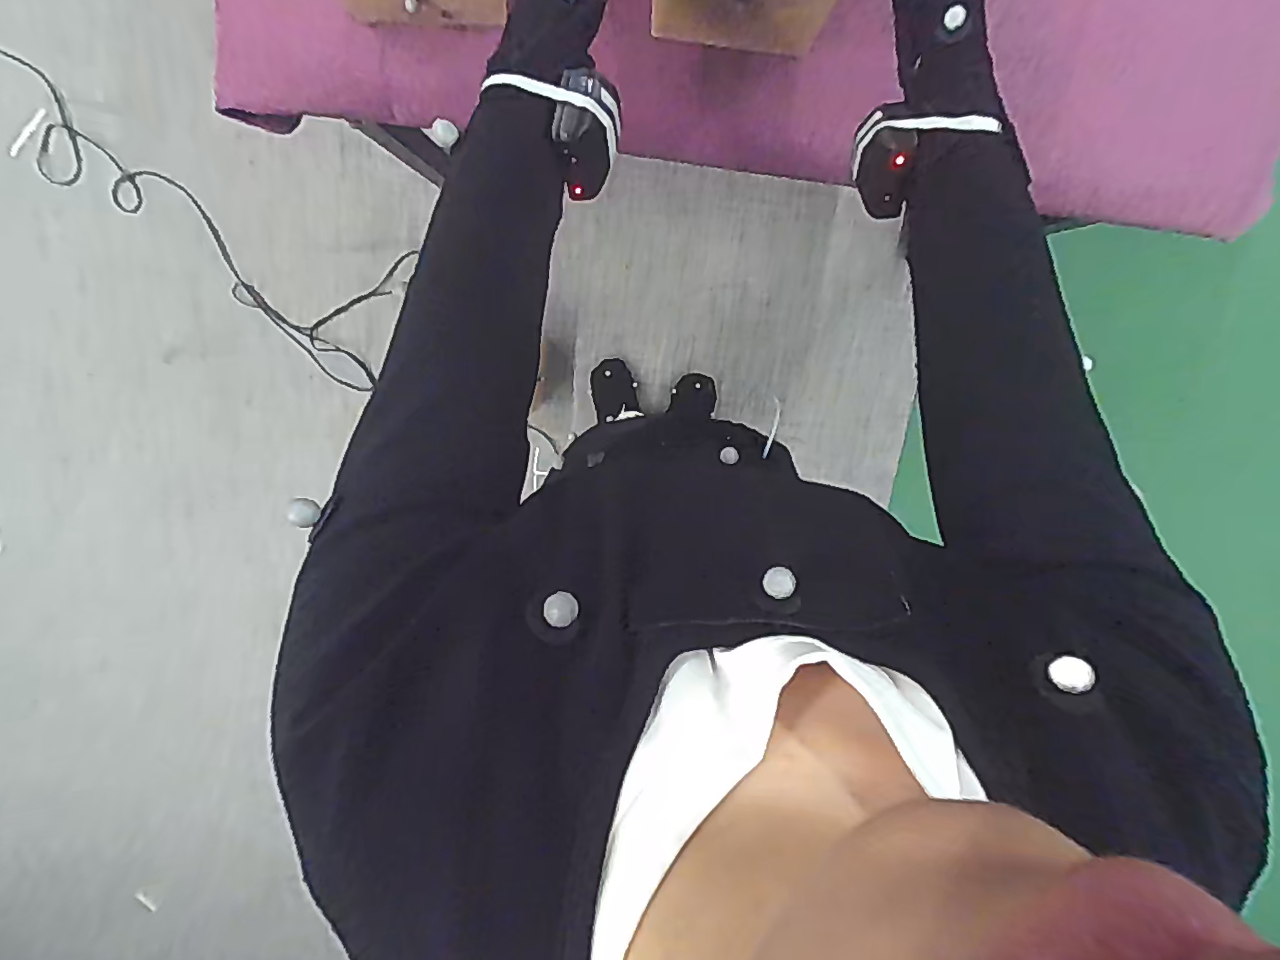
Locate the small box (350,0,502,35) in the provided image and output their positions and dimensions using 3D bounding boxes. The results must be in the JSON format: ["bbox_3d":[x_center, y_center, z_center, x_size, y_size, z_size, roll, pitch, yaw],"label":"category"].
[{"bbox_3d":[-0.227,-0.565,0.500,0.168,0.176,0.179,2,104,-2],"label":"small box"}]
